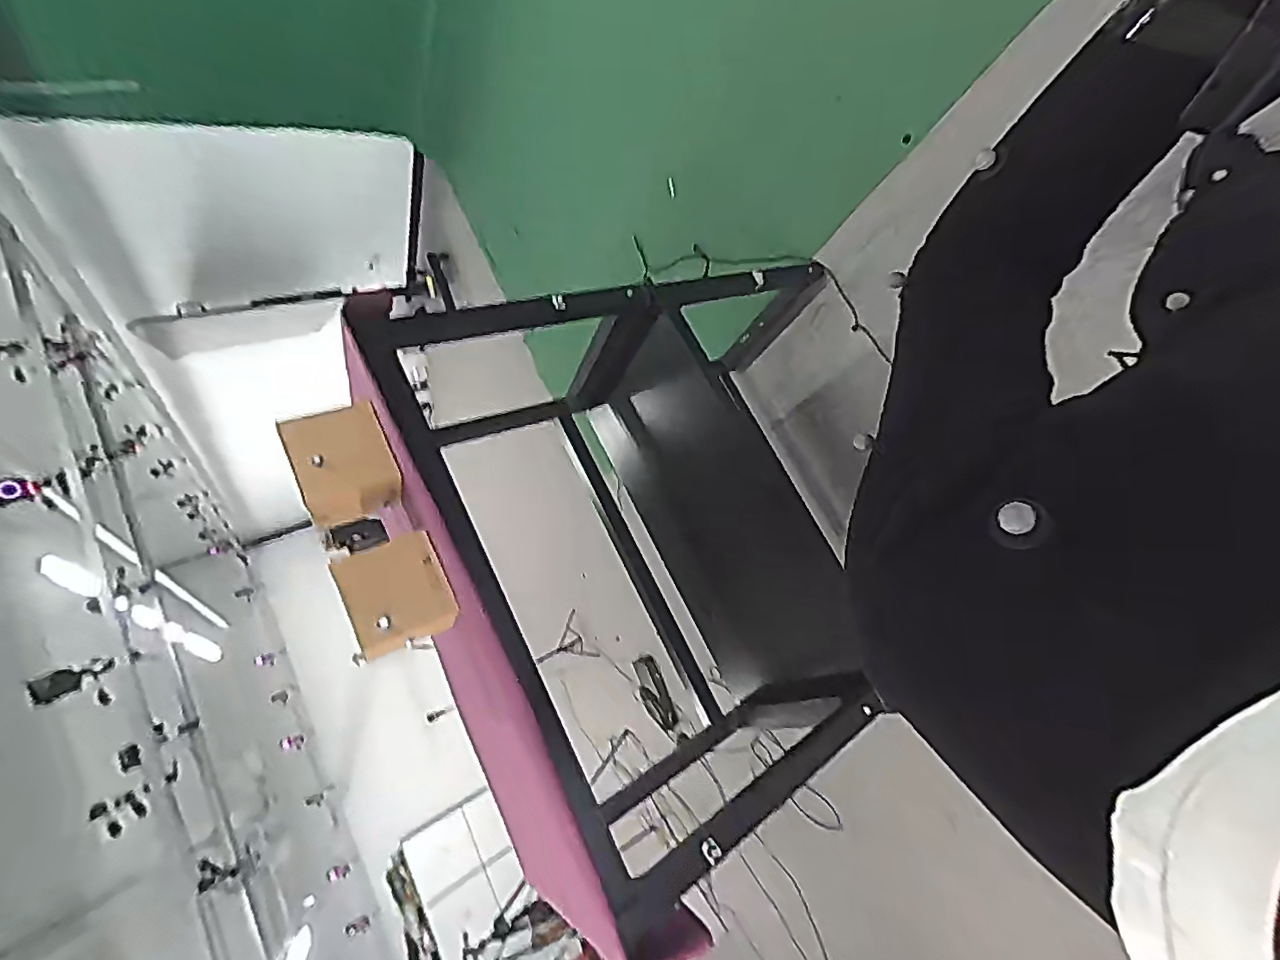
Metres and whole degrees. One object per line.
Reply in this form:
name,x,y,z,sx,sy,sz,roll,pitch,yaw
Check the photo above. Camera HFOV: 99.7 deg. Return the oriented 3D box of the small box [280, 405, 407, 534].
small box,-0.574,-0.022,1.068,0.179,0.176,0.168,62,148,11
